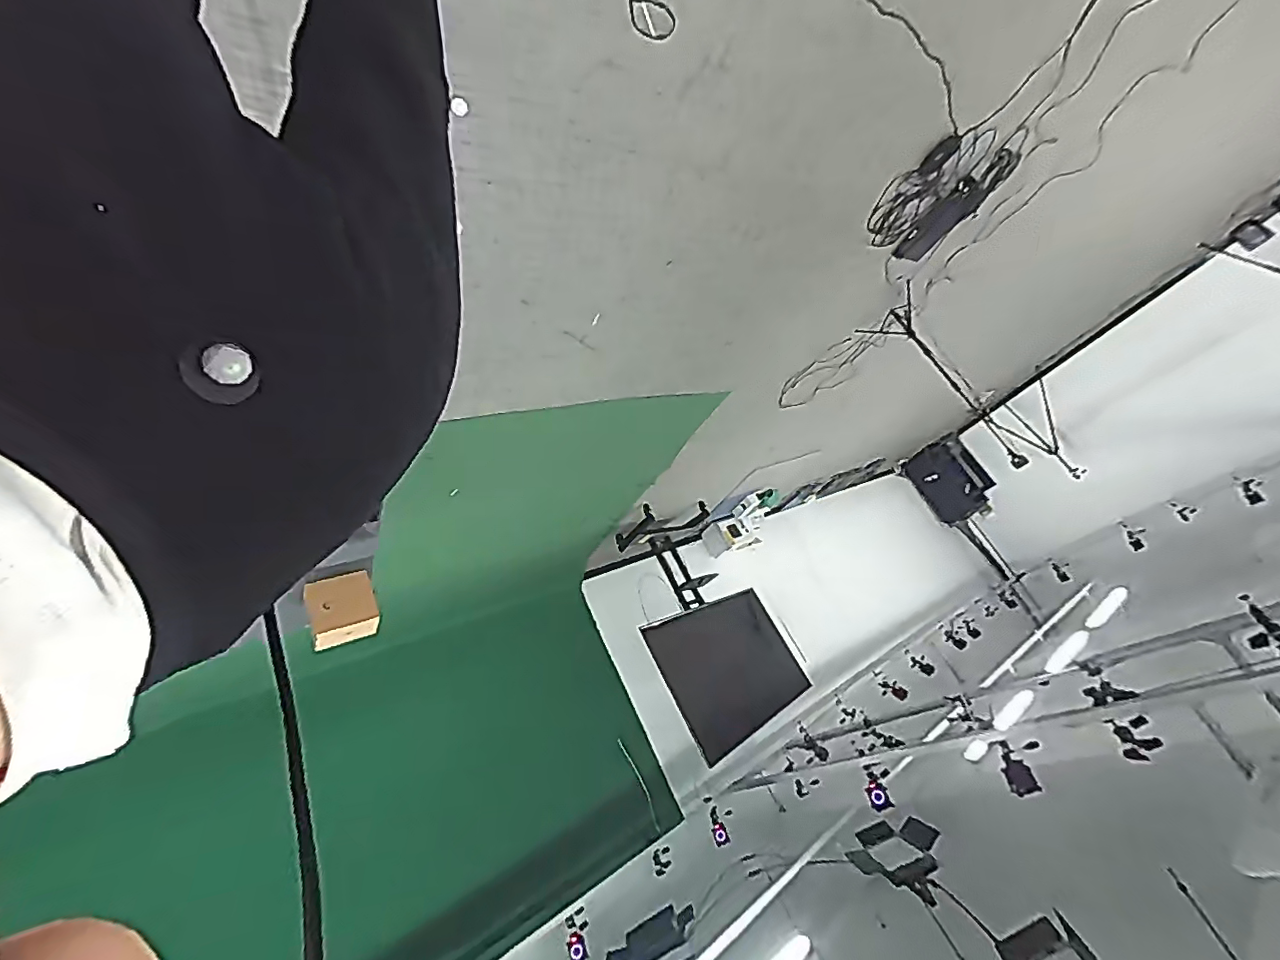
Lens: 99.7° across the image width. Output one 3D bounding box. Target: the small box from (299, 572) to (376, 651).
[{"bbox_3d":[-0.959,0.411,1.703,0.179,0.176,0.168,-11,156,-39],"label":"small box"}]
